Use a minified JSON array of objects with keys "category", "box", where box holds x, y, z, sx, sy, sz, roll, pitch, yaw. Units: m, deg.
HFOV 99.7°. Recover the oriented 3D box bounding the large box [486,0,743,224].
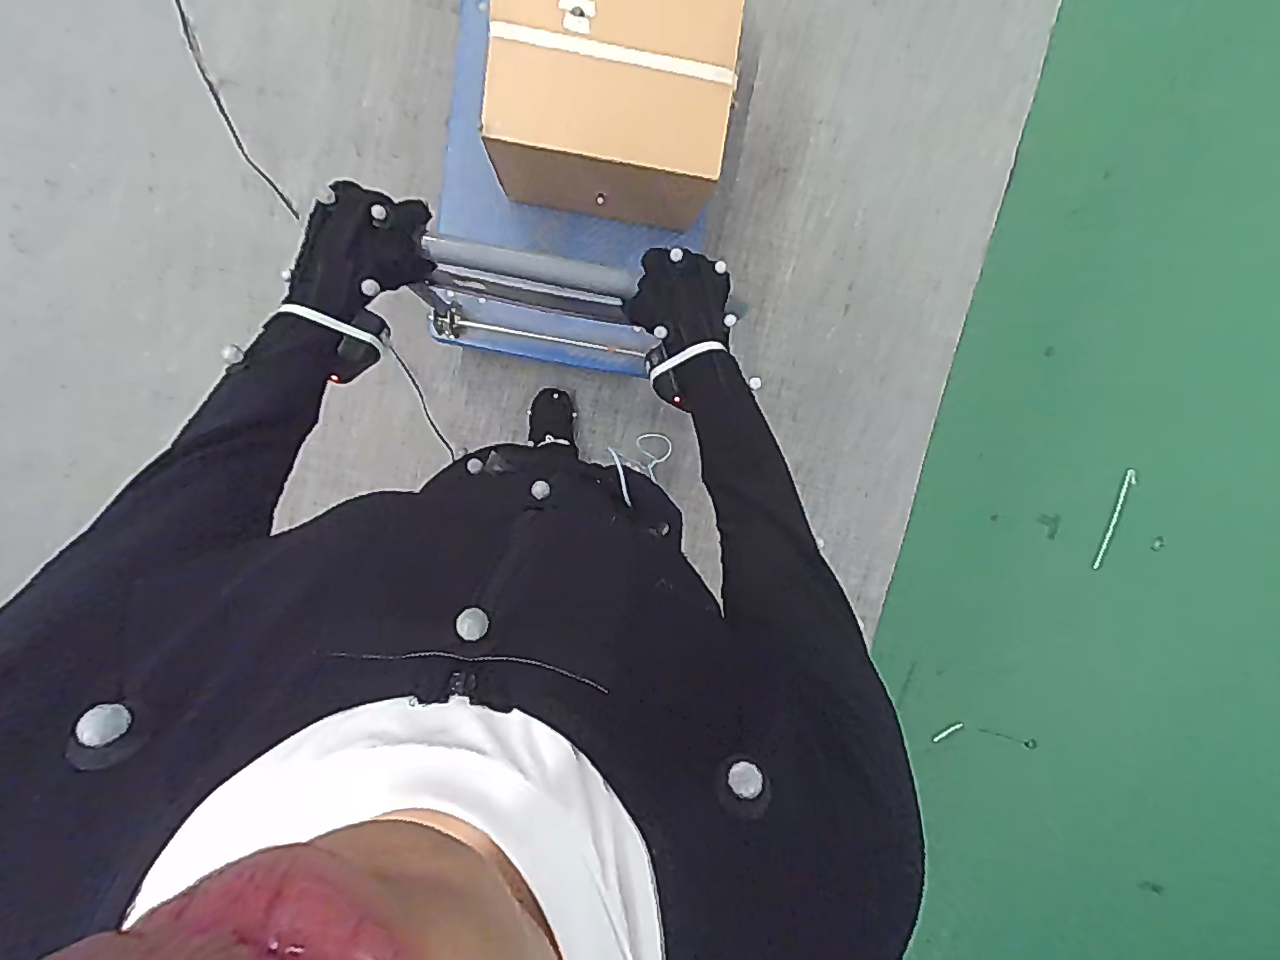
[{"category":"large box","box":[-0.050,-0.721,1.039,0.408,0.320,0.320,8,98,-5]}]
